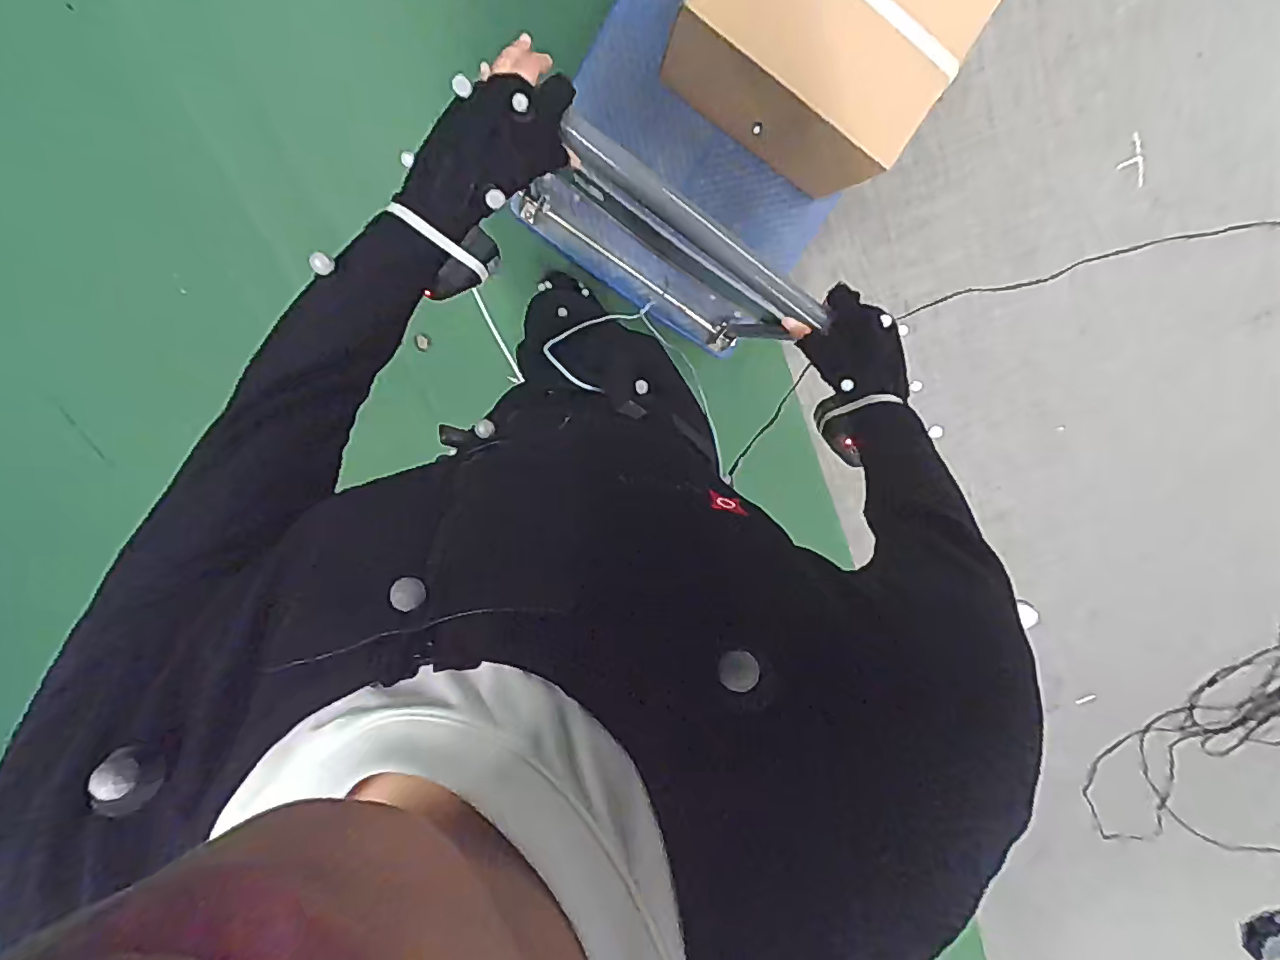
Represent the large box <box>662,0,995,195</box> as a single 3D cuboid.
[{"bbox_3d":[0.294,-0.764,0.925,0.408,0.320,0.320,30,104,-13],"label":"large box"}]
